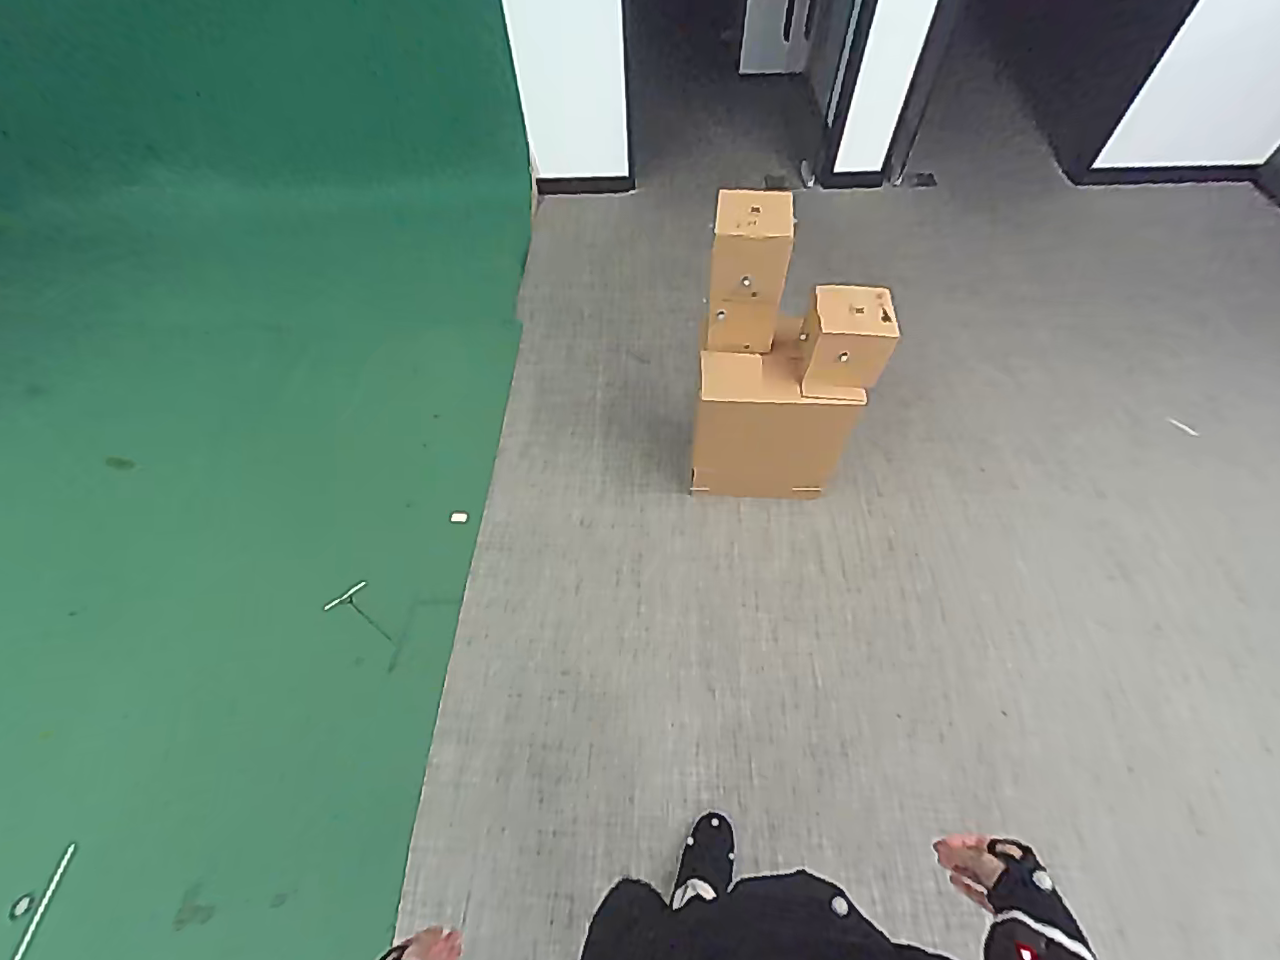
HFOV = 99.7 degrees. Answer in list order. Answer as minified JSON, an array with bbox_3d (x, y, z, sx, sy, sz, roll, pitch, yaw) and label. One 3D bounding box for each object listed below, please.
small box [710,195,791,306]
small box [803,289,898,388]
[{"bbox_3d":[0.251,-0.529,1.248,0.168,0.176,0.179,5,57,7],"label":"small box"},{"bbox_3d":[0.496,-0.339,1.306,0.179,0.176,0.168,3,59,5],"label":"small box"}]
